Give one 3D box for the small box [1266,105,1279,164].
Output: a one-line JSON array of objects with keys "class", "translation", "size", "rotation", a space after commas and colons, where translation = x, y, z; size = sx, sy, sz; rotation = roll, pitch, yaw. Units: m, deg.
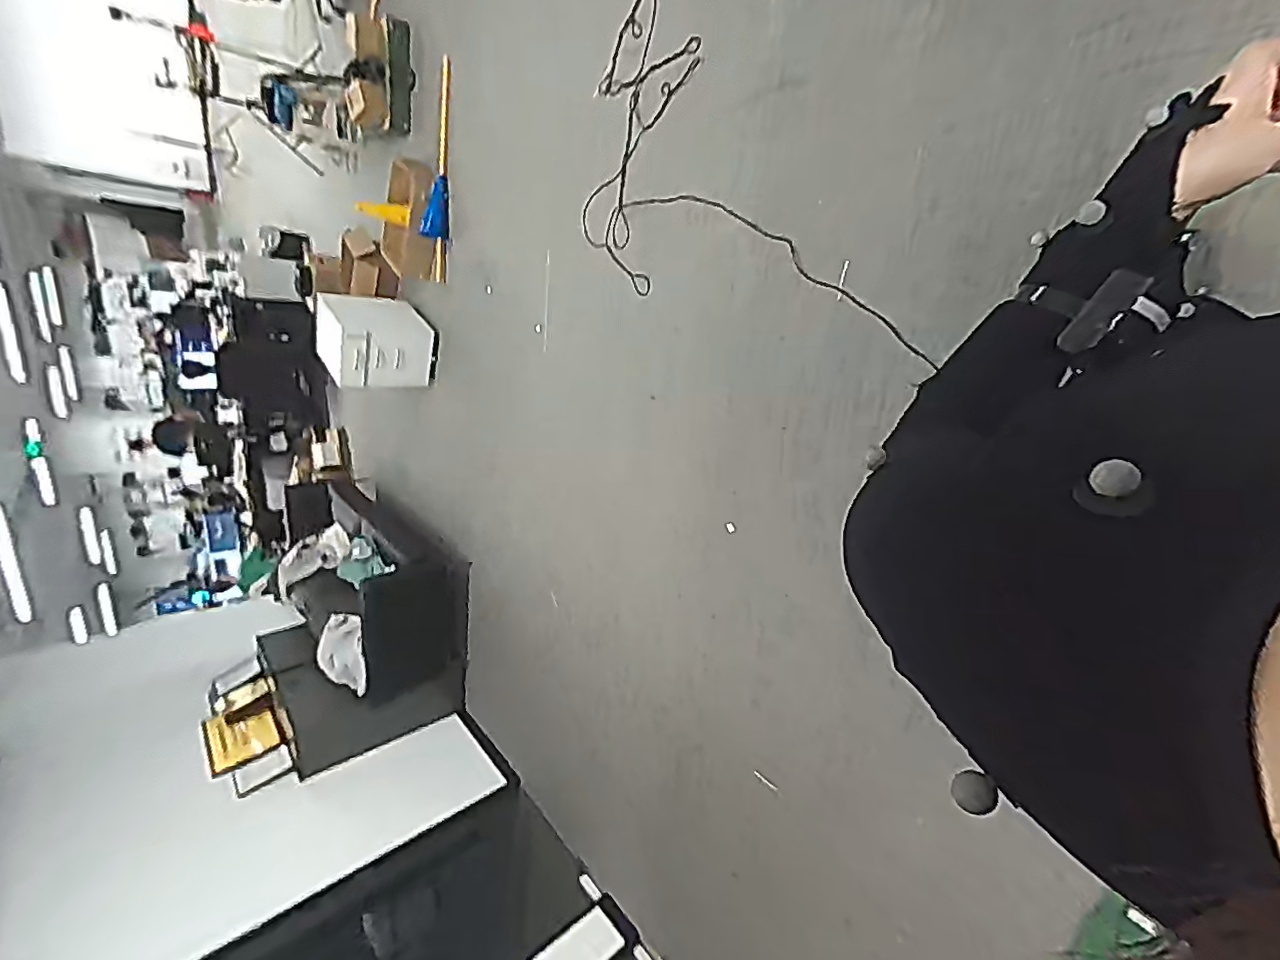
[{"class": "small box", "translation": [0.528, -0.291, 0.319], "size": [0.168, 0.176, 0.179], "rotation": [27, 126, 39]}]
